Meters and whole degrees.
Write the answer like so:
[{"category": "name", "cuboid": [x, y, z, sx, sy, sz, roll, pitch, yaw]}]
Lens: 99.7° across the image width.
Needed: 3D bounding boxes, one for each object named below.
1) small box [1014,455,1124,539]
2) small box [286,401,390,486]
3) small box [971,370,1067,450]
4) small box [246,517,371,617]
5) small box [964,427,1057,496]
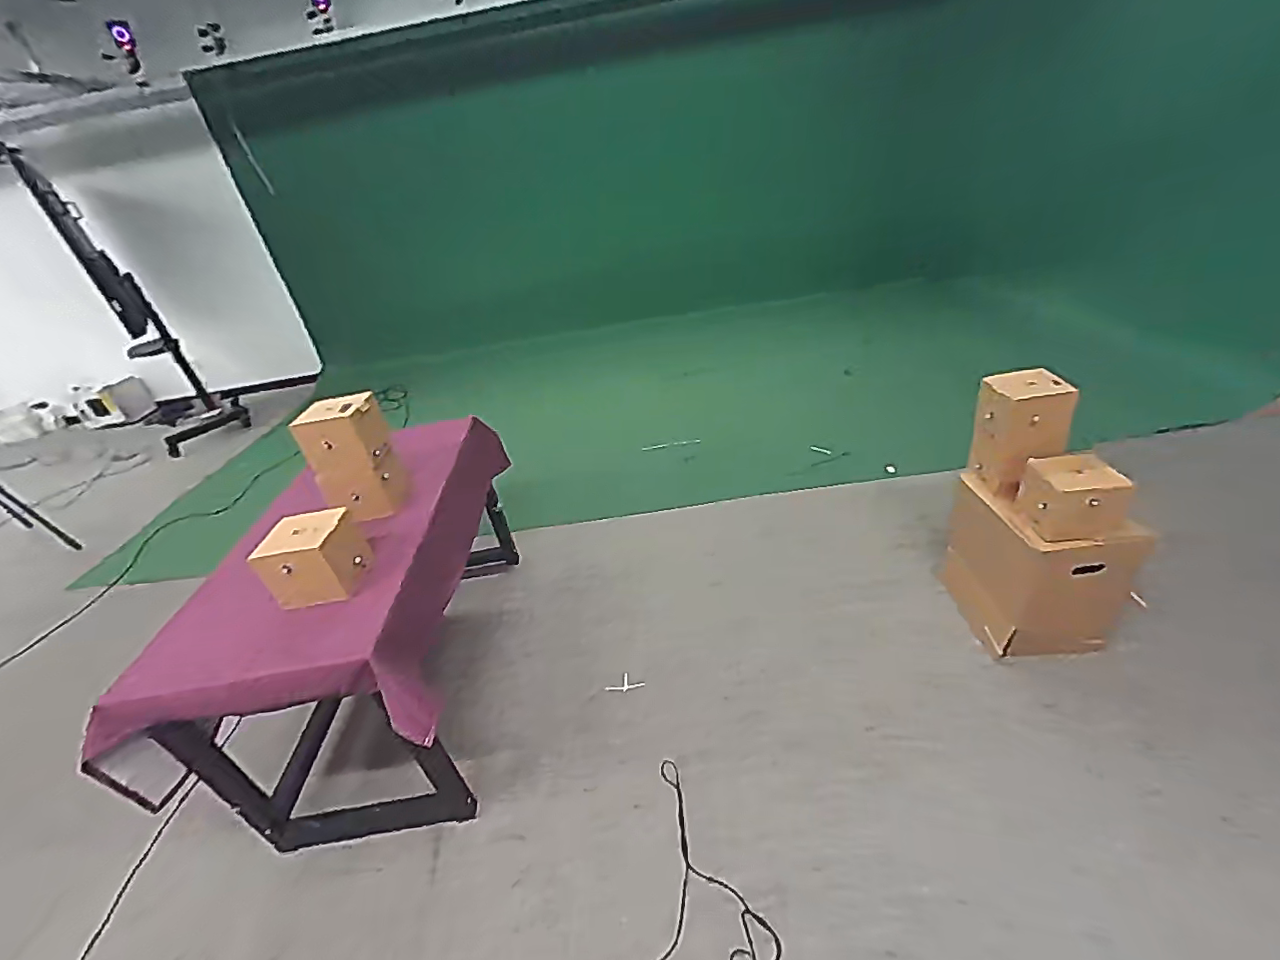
[{"category": "small box", "cuboid": [1.169, 0.049, 1.493, 0.179, 0.176, 0.168, -7, 31, 6]}, {"category": "small box", "cuboid": [-0.856, -0.104, 1.555, 0.179, 0.176, 0.168, -11, 31, 4]}, {"category": "small box", "cuboid": [1.116, -0.206, 1.611, 0.179, 0.176, 0.168, -10, 33, 6]}, {"category": "small box", "cuboid": [-0.806, 0.217, 1.334, 0.179, 0.176, 0.168, -10, 32, 2]}, {"category": "small box", "cuboid": [1.151, -0.070, 1.696, 0.179, 0.176, 0.168, -10, 32, 5]}]
